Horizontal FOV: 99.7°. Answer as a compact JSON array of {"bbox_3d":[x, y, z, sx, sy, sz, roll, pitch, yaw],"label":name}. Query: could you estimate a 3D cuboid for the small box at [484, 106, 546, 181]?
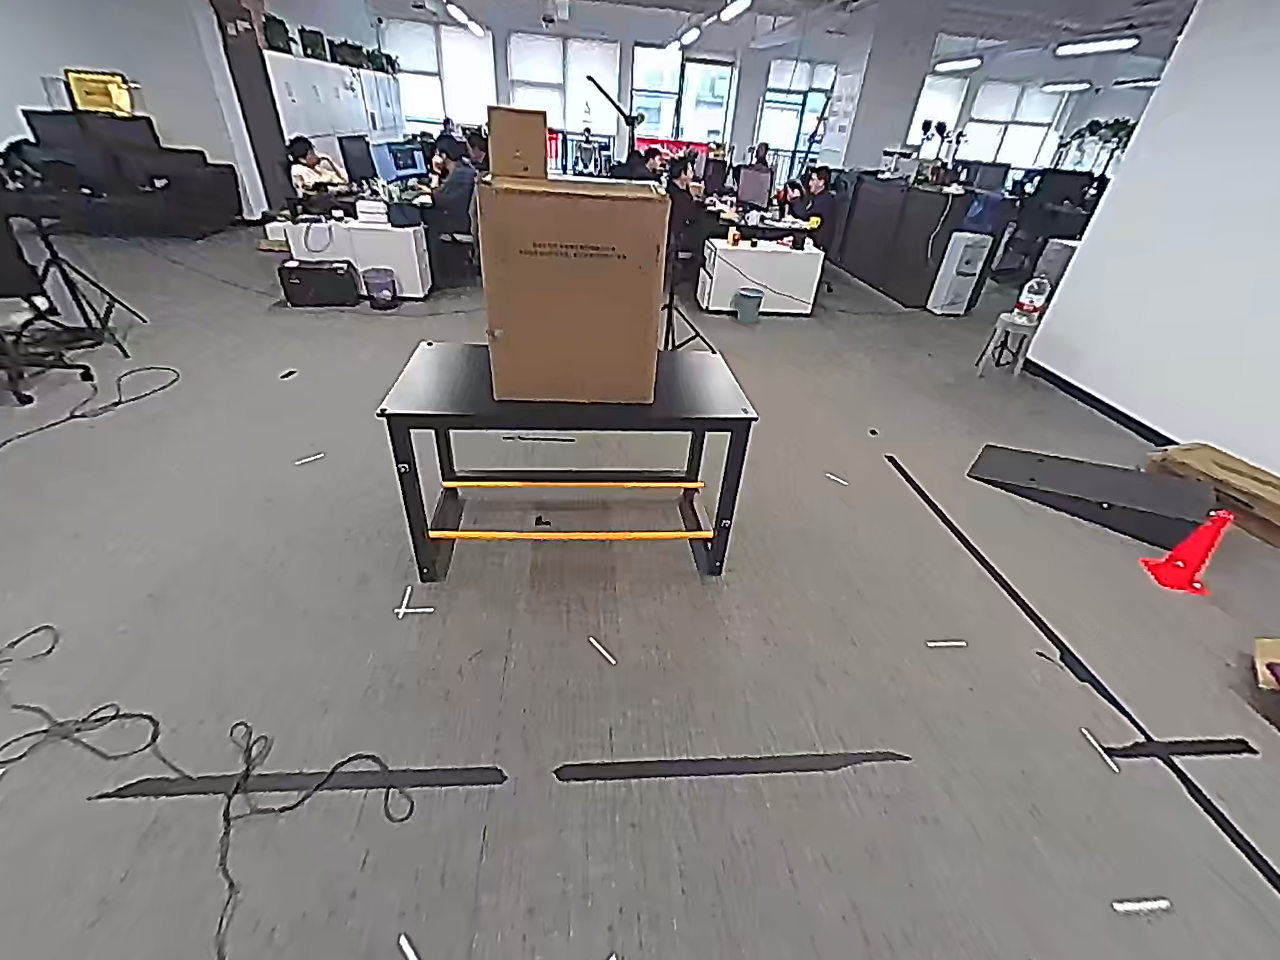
[{"bbox_3d":[-0.366,-0.997,1.607,0.168,0.176,0.179,-1,32,-9],"label":"small box"}]
